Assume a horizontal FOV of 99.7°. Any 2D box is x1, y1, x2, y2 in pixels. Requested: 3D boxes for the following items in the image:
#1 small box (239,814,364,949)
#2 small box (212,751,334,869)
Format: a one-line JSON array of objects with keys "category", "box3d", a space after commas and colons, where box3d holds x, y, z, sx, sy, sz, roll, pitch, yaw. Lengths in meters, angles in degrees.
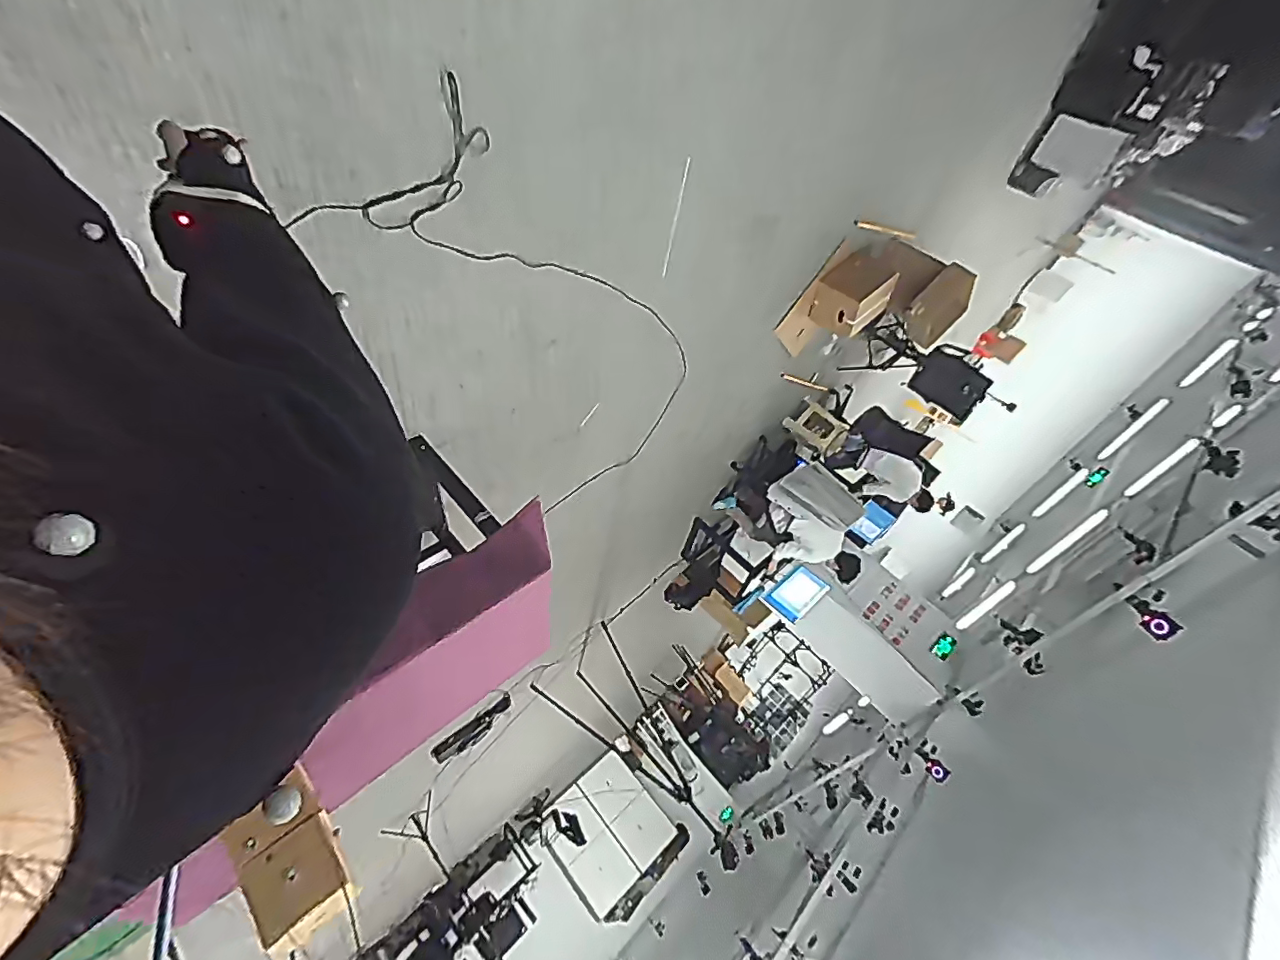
[{"category": "small box", "box3d": [-0.744, 0.880, 1.195, 0.168, 0.176, 0.179, -29, 150, -34]}, {"category": "small box", "box3d": [-0.852, 0.775, 1.262, 0.179, 0.176, 0.168, -27, 150, -37]}]
